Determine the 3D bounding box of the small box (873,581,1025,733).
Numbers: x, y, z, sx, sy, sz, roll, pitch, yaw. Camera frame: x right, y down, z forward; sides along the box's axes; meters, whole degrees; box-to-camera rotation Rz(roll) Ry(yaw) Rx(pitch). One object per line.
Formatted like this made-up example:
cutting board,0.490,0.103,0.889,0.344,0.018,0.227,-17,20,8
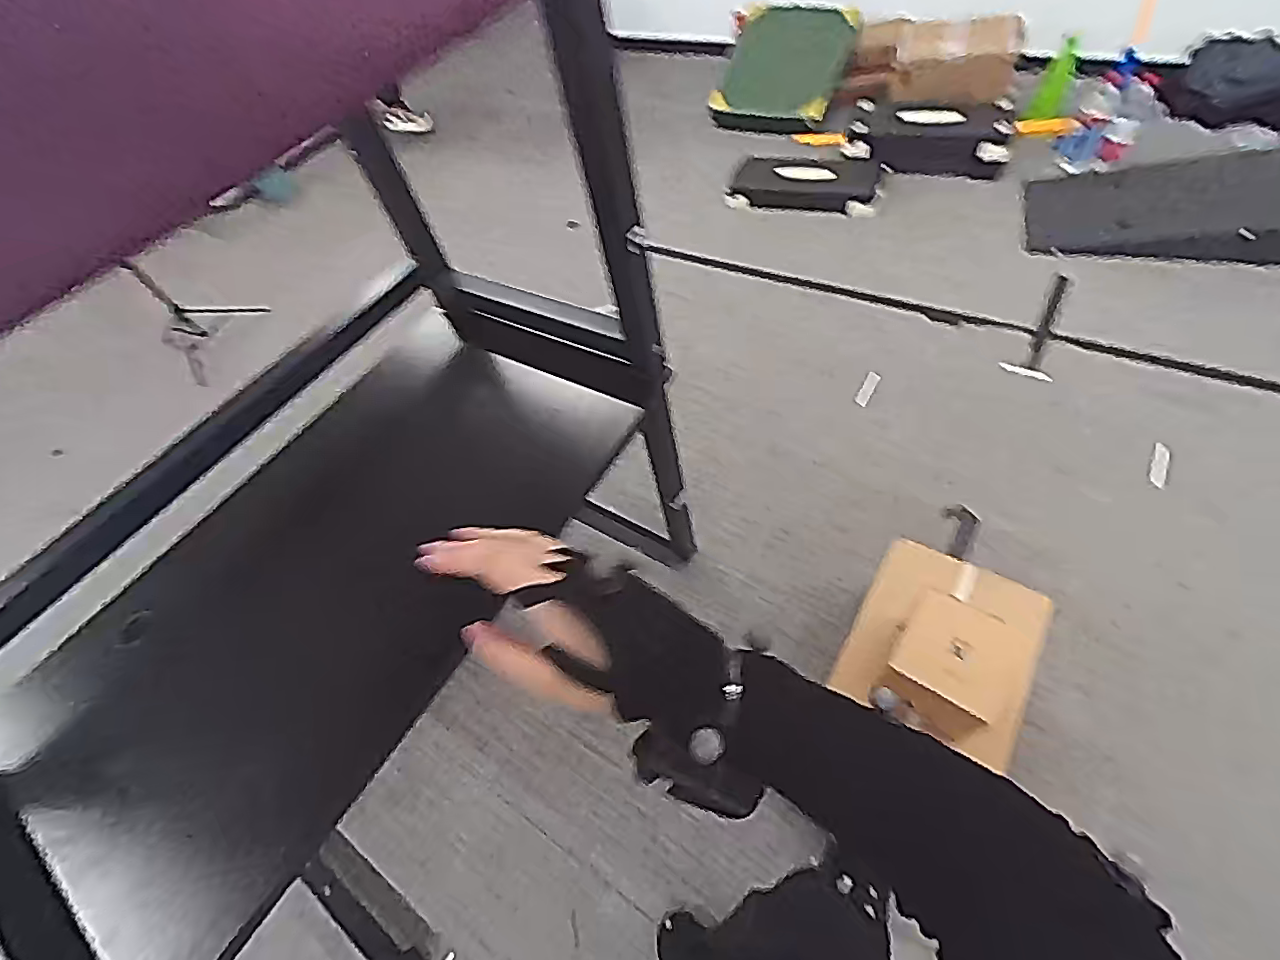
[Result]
small box,0.539,0.318,0.965,0.168,0.176,0.179,28,66,27

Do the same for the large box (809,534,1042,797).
large box,0.606,0.406,1.192,0.320,0.320,0.408,25,64,23
